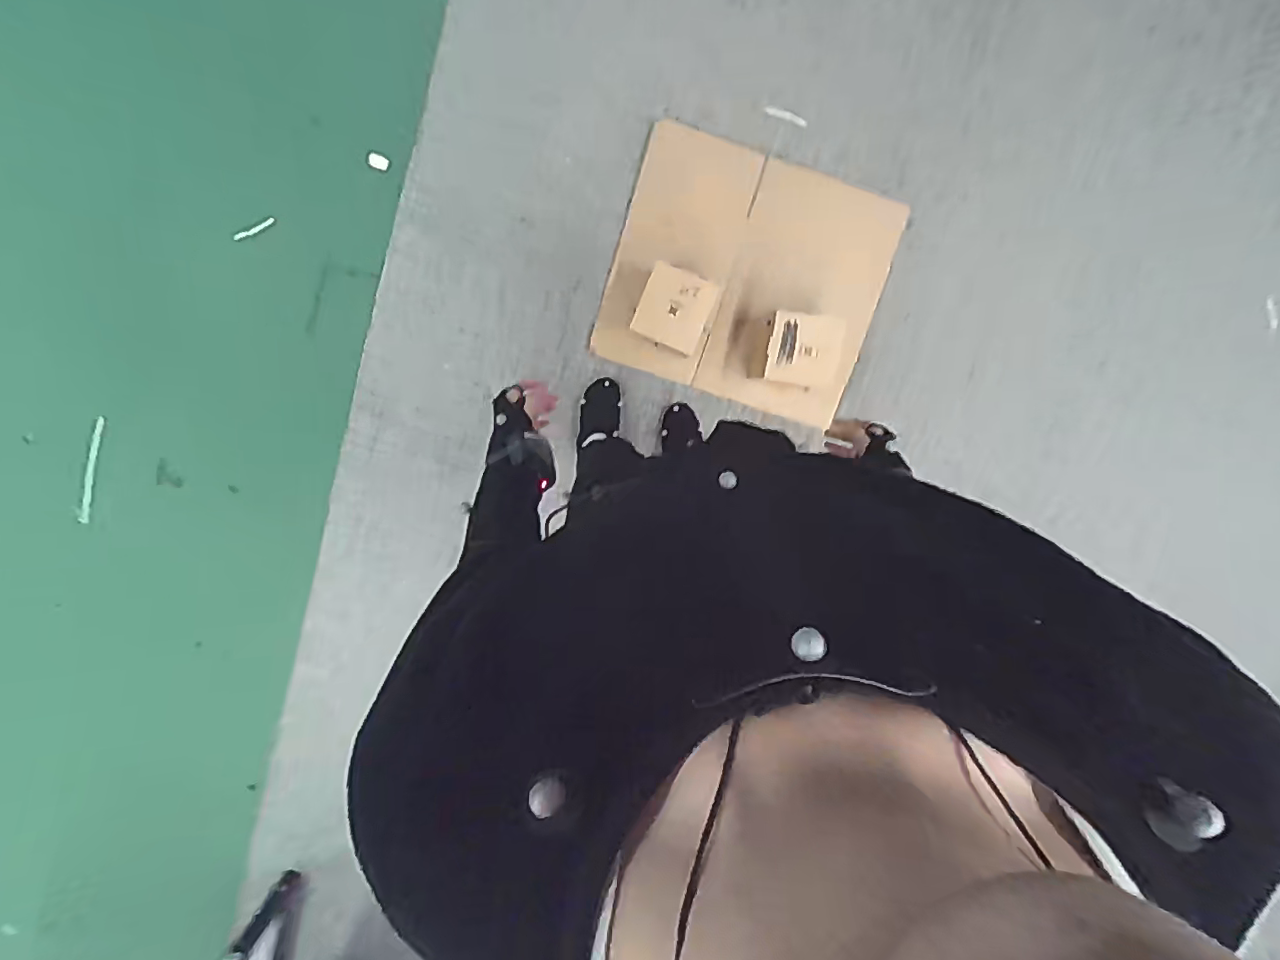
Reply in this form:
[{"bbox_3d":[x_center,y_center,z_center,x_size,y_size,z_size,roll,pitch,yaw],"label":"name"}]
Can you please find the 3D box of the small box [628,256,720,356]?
[{"bbox_3d":[0.080,-0.420,1.341,0.168,0.176,0.179,23,99,-5],"label":"small box"}]
